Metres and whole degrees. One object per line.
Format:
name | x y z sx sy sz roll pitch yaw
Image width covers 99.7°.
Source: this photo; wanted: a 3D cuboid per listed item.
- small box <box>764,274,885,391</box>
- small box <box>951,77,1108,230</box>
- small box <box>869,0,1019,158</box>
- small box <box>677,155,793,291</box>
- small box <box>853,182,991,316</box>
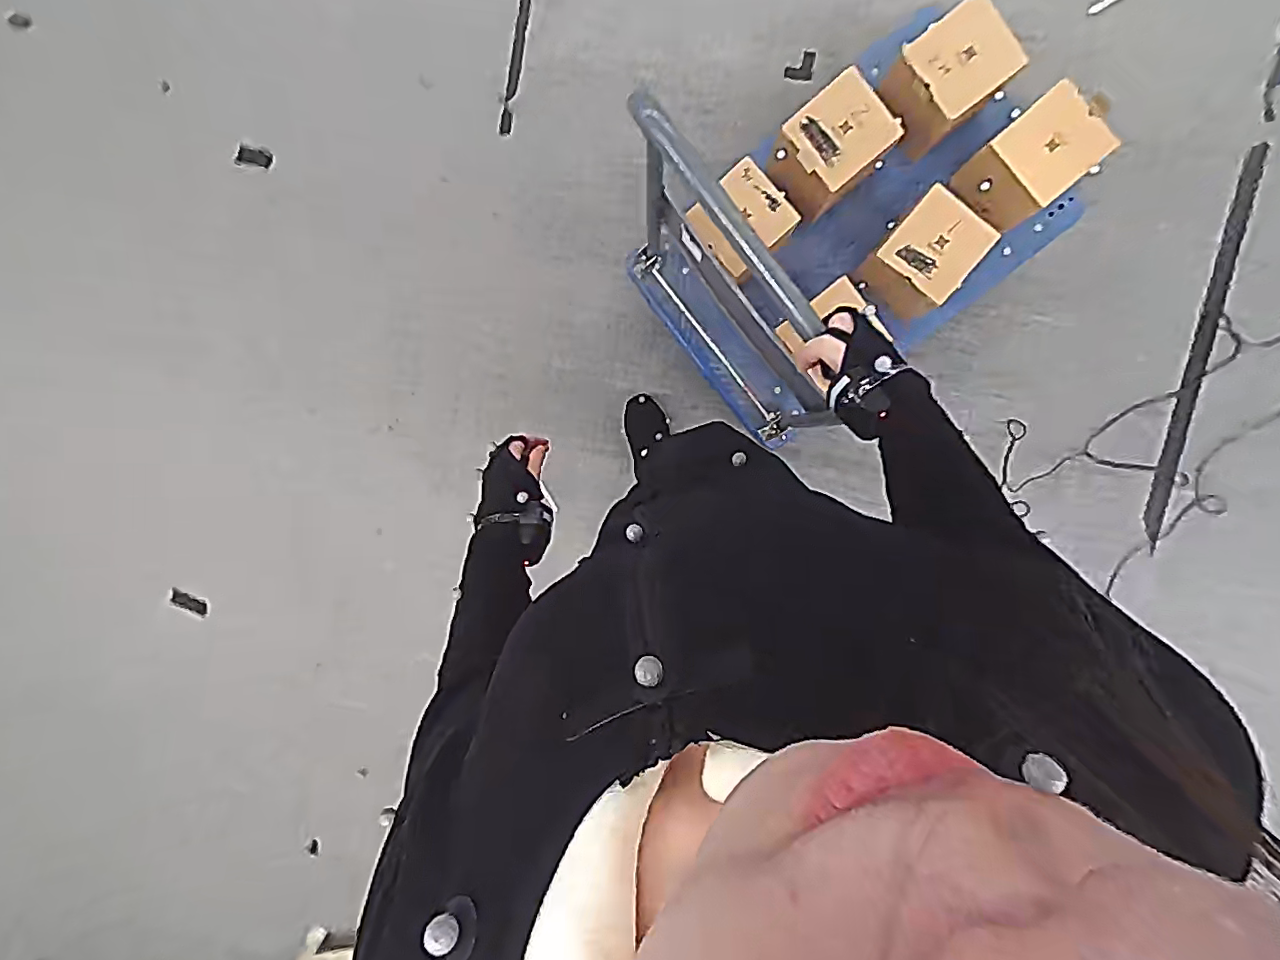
small box | 0.387 -0.308 1.177 0.179 0.176 0.168 -38 93 6
small box | 0.782 -0.656 1.115 0.179 0.176 0.168 -41 92 6
small box | 0.609 -0.815 1.107 0.179 0.176 0.168 -36 93 7
small box | 0.198 -0.538 1.163 0.179 0.176 0.168 -41 93 7
small box | 0.580 -0.476 1.147 0.168 0.176 0.179 40 96 -1
